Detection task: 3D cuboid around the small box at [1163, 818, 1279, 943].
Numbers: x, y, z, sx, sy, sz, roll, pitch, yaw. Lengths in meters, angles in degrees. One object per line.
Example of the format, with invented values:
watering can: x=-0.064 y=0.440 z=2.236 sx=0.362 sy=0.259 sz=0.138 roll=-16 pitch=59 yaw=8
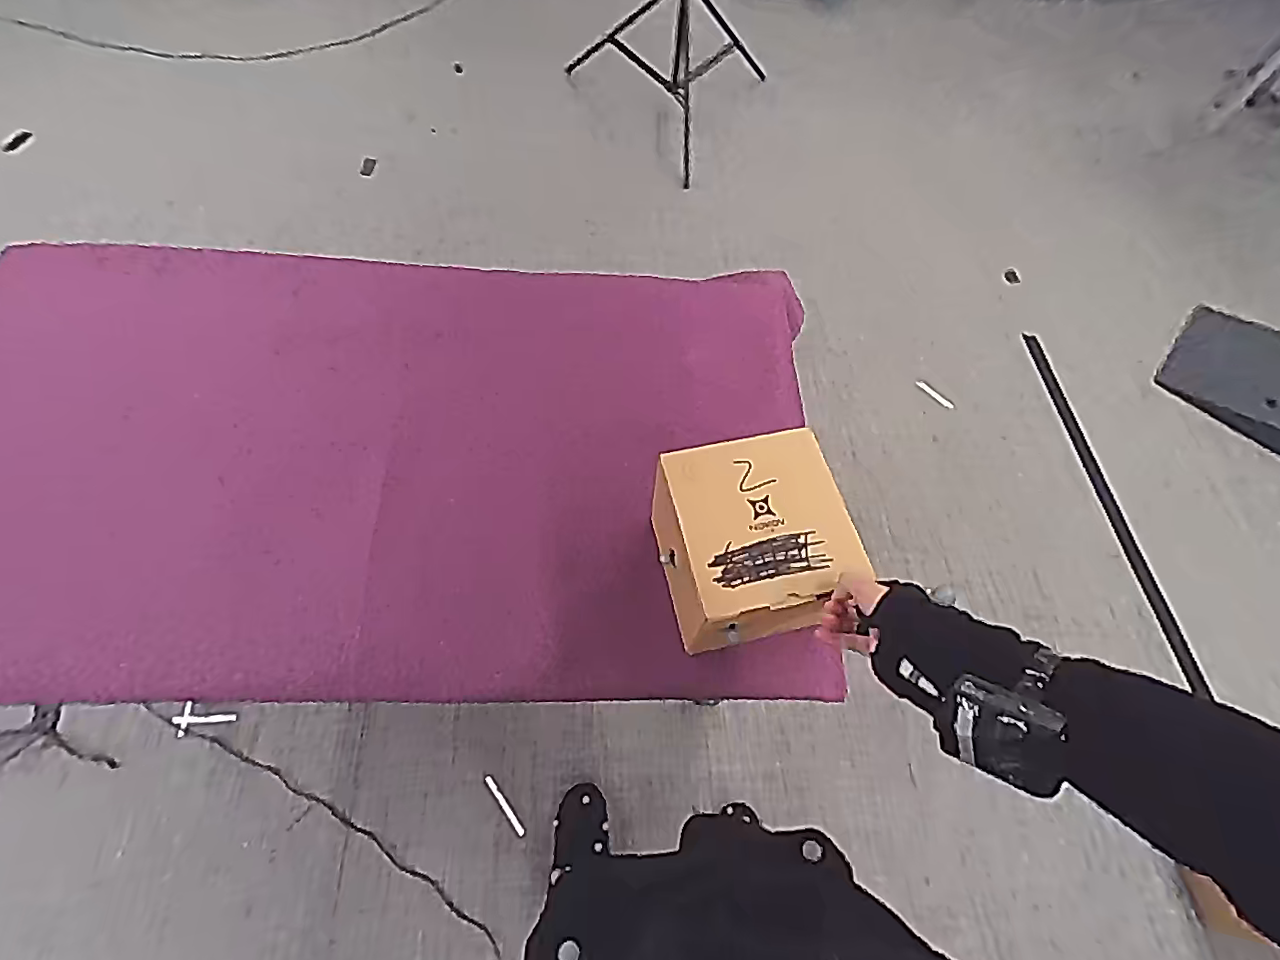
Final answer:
small box: x=1.262 y=0.815 z=1.114 sx=0.168 sy=0.176 sz=0.179 roll=-3 pitch=63 yaw=-6
